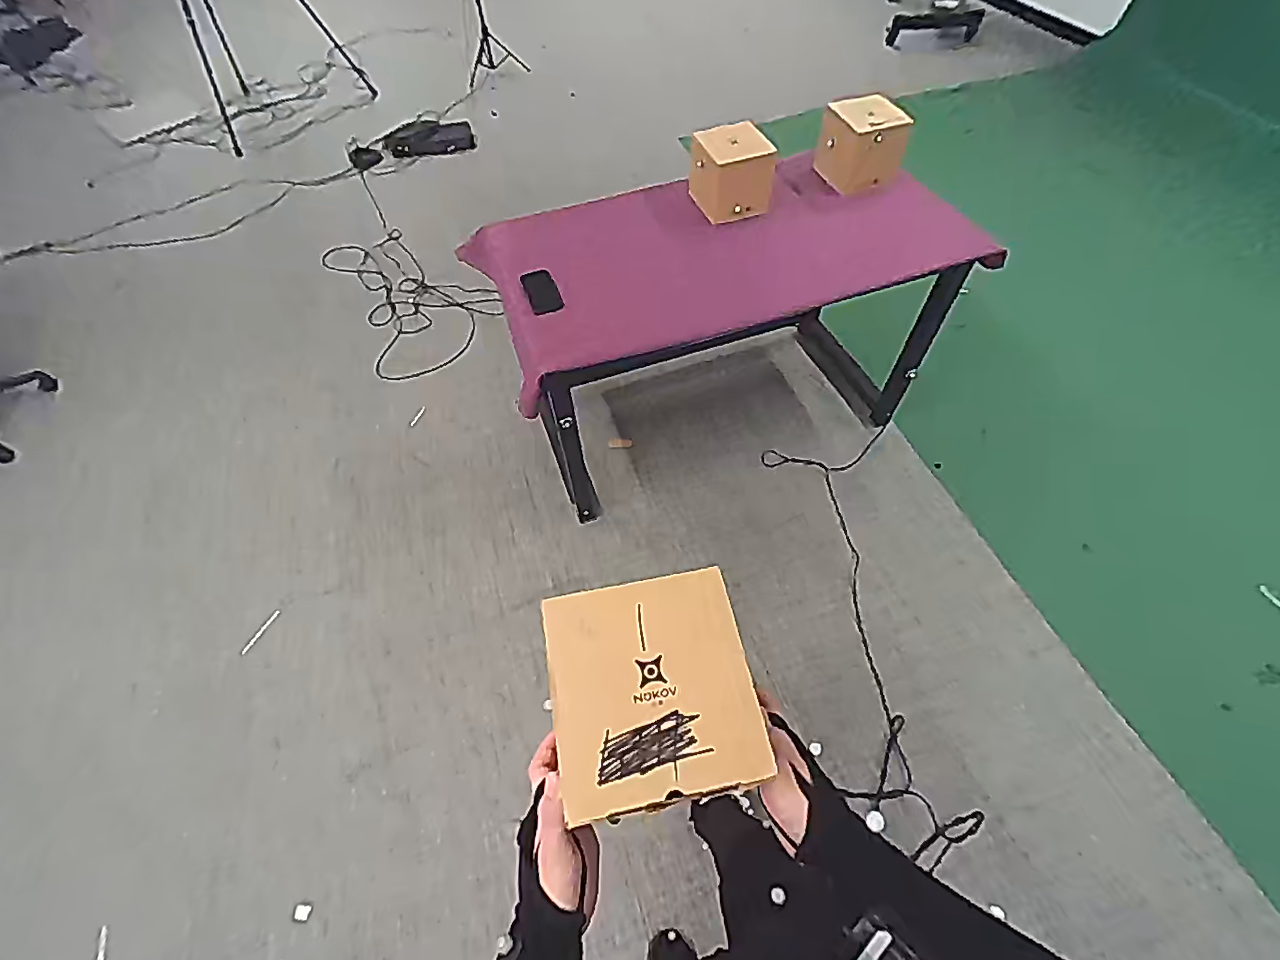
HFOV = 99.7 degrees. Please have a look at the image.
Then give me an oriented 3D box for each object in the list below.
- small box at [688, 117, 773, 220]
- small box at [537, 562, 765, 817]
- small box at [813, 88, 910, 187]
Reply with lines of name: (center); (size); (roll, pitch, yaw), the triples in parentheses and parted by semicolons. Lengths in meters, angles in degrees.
small box: (0.233, -0.830, 1.446); (0.168, 0.176, 0.179); (-18, 59, -7)
small box: (0.003, 0.199, 0.518); (0.168, 0.176, 0.179); (-10, 62, -6)
small box: (0.602, -0.947, 1.499); (0.168, 0.176, 0.179); (-17, 57, -7)
